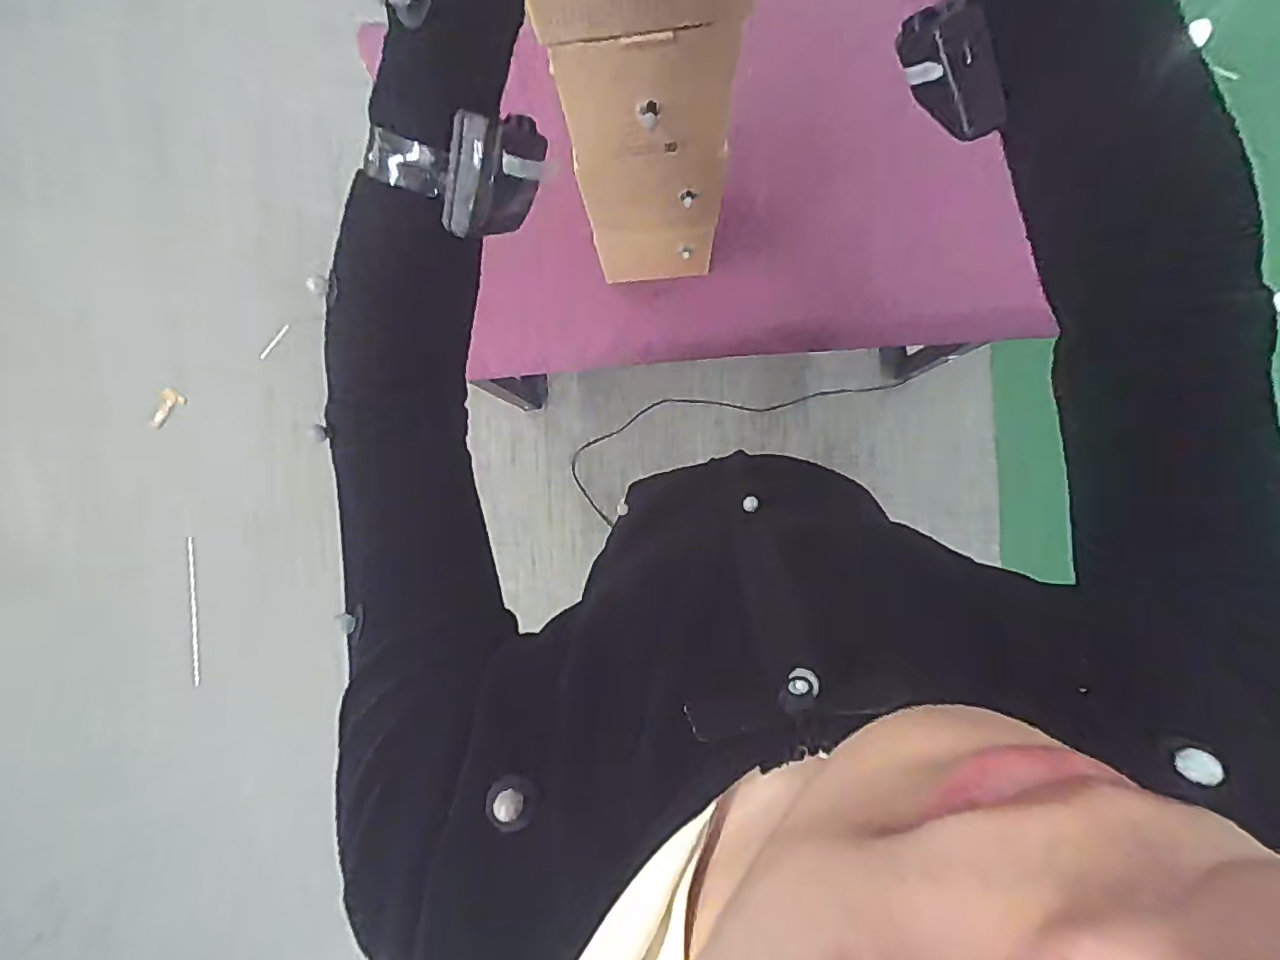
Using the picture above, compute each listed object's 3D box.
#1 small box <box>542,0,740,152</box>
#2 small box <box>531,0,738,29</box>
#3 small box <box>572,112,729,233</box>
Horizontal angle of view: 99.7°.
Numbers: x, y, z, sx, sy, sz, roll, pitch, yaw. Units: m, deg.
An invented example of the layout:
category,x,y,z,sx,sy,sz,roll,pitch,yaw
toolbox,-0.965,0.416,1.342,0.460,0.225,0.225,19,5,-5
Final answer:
category,x,y,z,sx,sy,sz,roll,pitch,yaw
small box,0.000,-0.446,0.520,0.168,0.176,0.179,-5,89,3
small box,-0.009,-0.446,0.355,0.179,0.176,0.168,-5,88,3
small box,0.012,-0.435,0.682,0.179,0.176,0.168,-4,88,4
